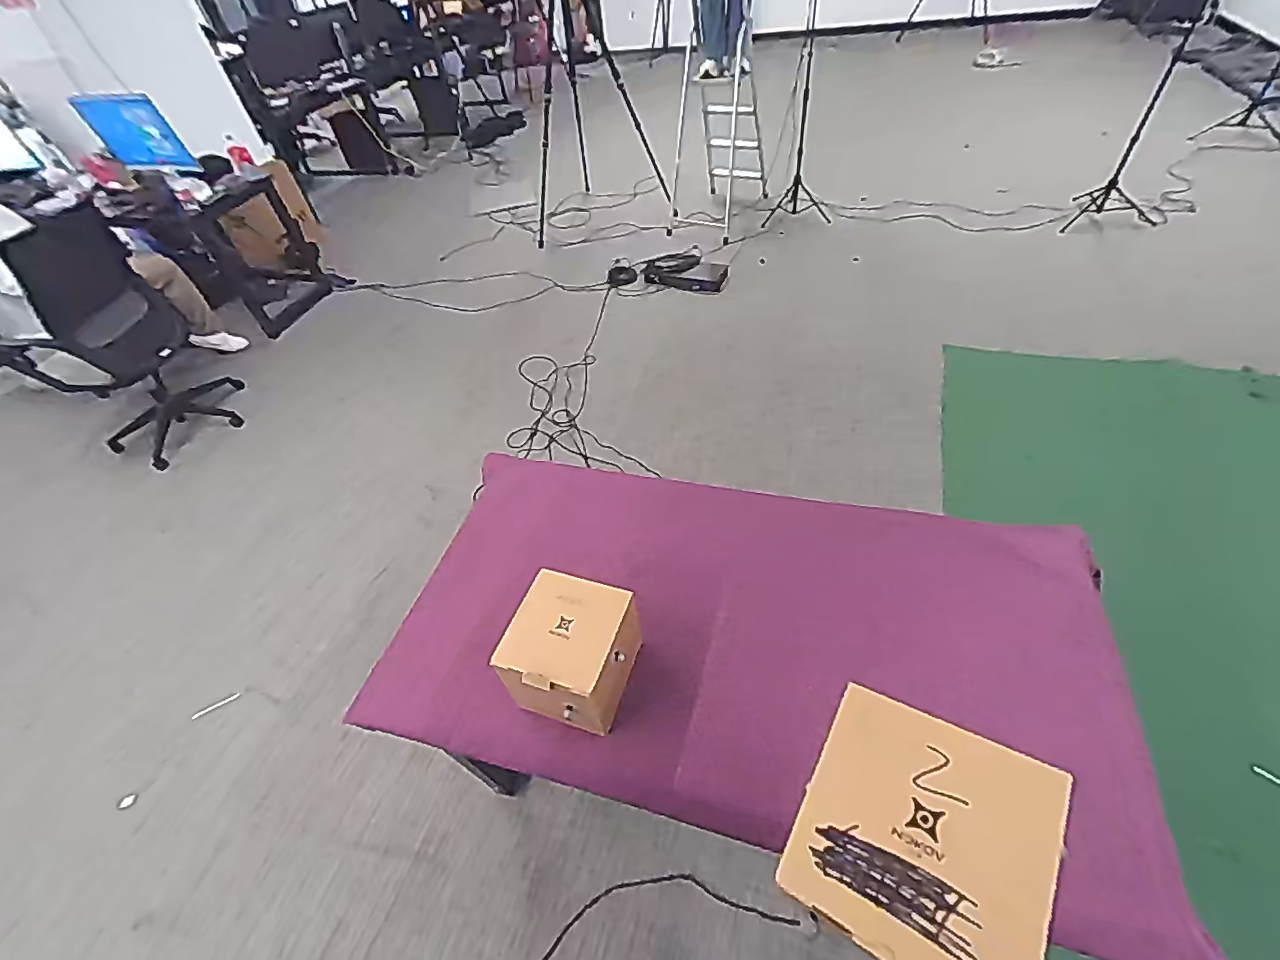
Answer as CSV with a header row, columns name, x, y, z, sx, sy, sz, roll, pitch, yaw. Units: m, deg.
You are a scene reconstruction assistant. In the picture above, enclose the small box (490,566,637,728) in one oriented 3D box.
name,x,y,z,sx,sy,sz,roll,pitch,yaw
small box,-0.110,0.274,0.881,0.168,0.176,0.179,12,49,17
